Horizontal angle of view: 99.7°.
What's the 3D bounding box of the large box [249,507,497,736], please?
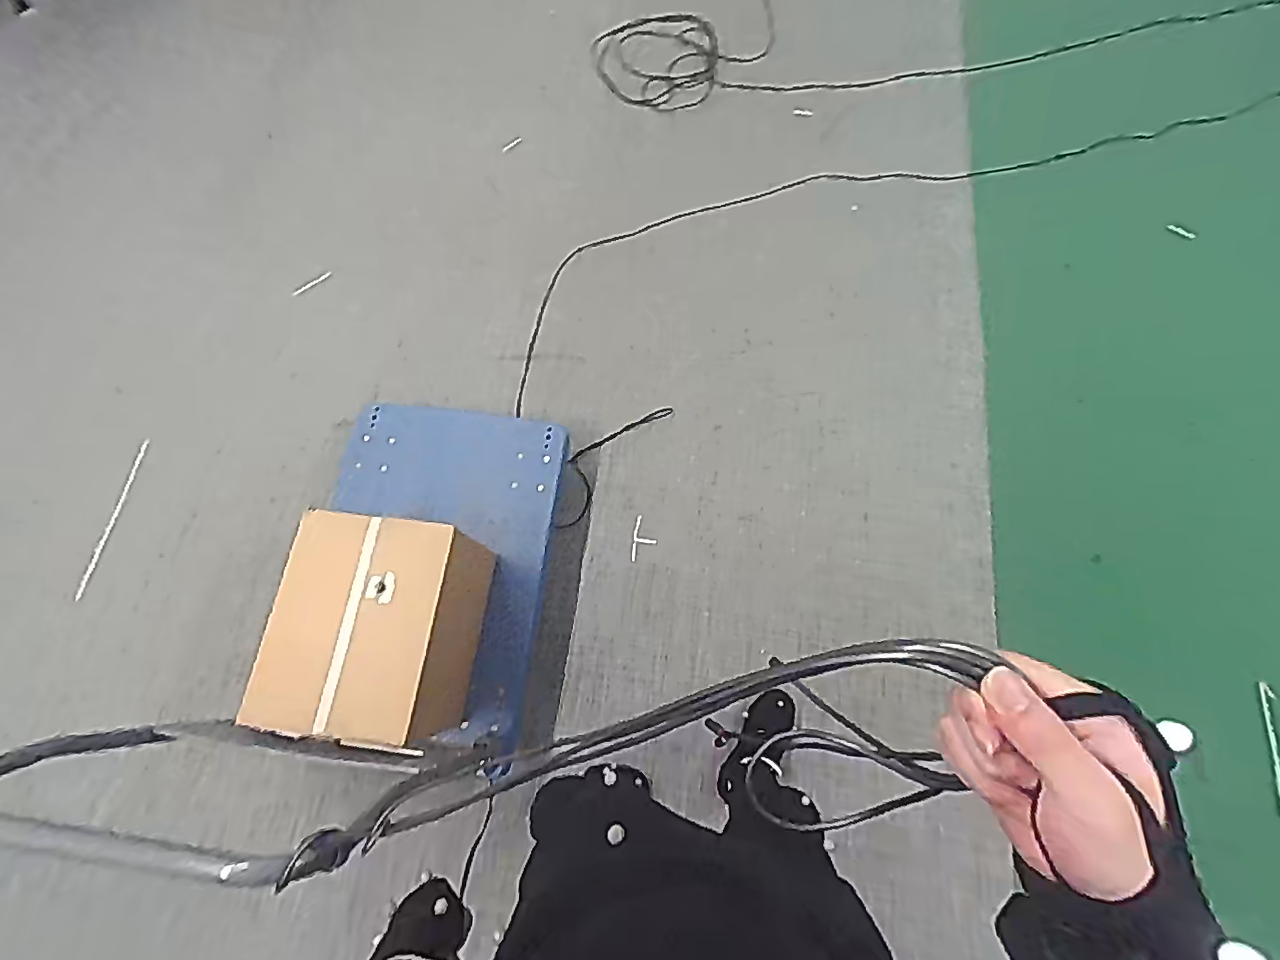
[{"bbox_3d":[-0.528,0.301,1.159,0.320,0.320,0.408,6,72,3],"label":"large box"}]
